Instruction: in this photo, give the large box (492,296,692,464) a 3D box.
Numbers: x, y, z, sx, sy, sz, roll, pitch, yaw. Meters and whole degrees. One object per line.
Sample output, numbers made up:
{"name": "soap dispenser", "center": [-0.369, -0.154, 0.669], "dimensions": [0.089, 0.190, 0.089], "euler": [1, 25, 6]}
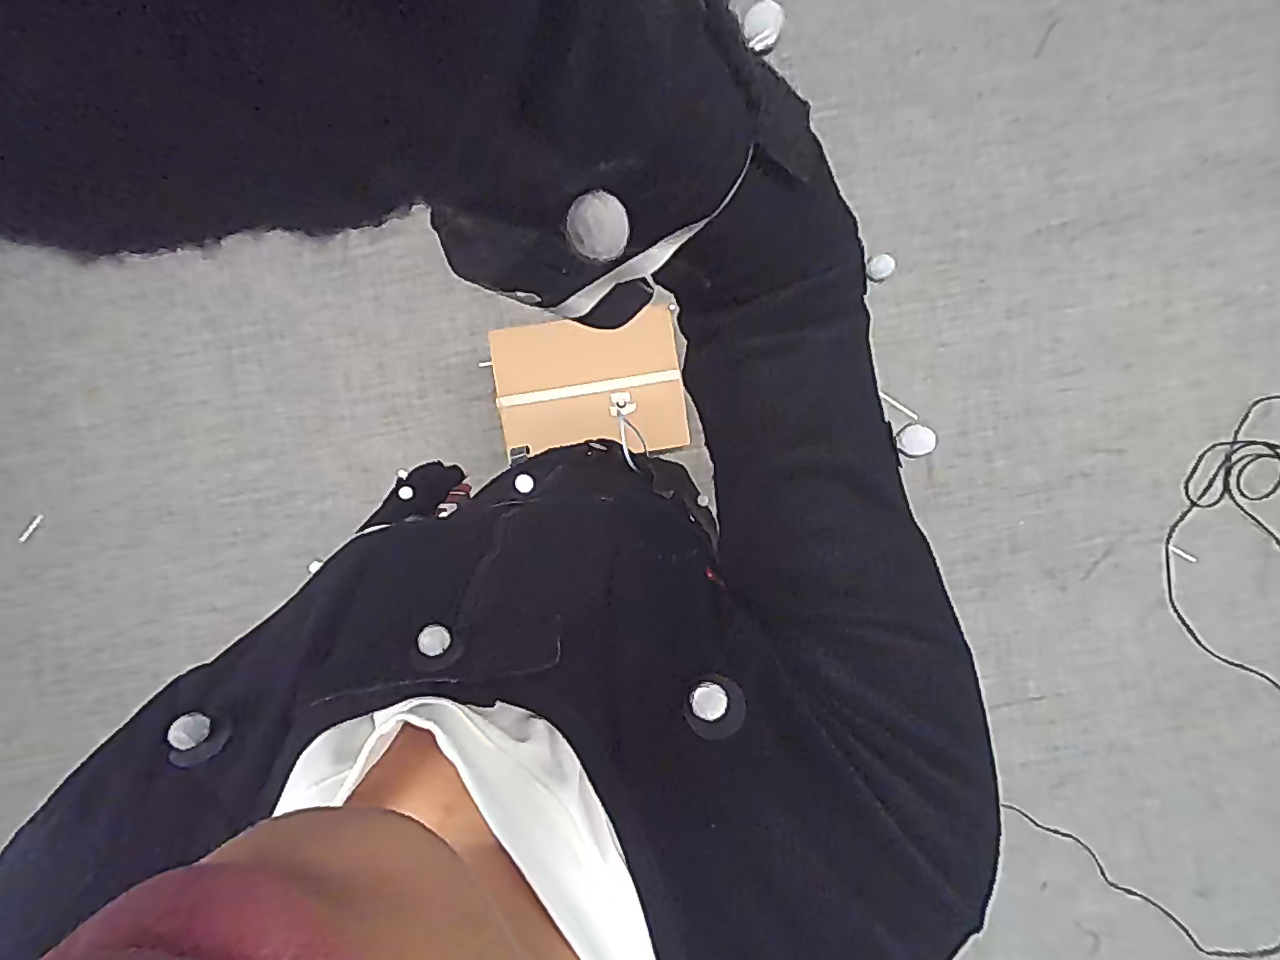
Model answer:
{"name": "large box", "center": [-0.104, -0.222, 1.329], "dimensions": [0.408, 0.320, 0.320], "euler": [-9, 93, 1]}
